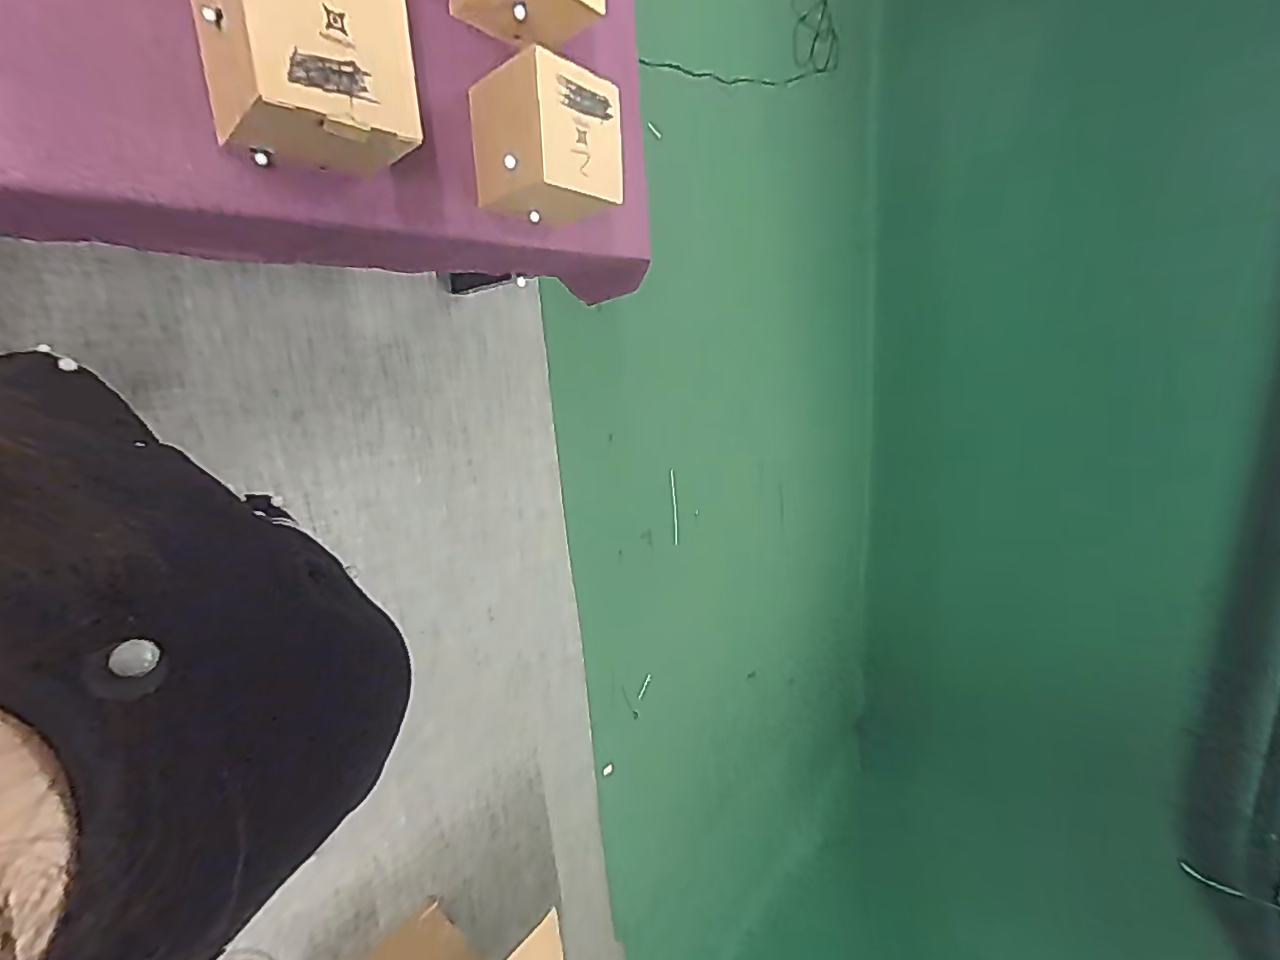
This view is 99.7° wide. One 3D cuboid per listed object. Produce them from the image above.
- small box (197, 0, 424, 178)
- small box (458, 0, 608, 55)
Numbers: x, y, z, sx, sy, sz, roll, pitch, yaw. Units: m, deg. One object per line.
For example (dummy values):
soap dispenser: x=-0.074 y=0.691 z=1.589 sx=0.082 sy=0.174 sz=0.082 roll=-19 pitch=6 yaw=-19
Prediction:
small box: x=-0.369 y=-0.467 z=0.610 sx=0.168 sy=0.176 sz=0.179 roll=-16 pitch=106 yaw=-46
small box: x=-0.165 y=-0.777 z=0.792 sx=0.168 sy=0.176 sz=0.179 roll=-14 pitch=105 yaw=-46
